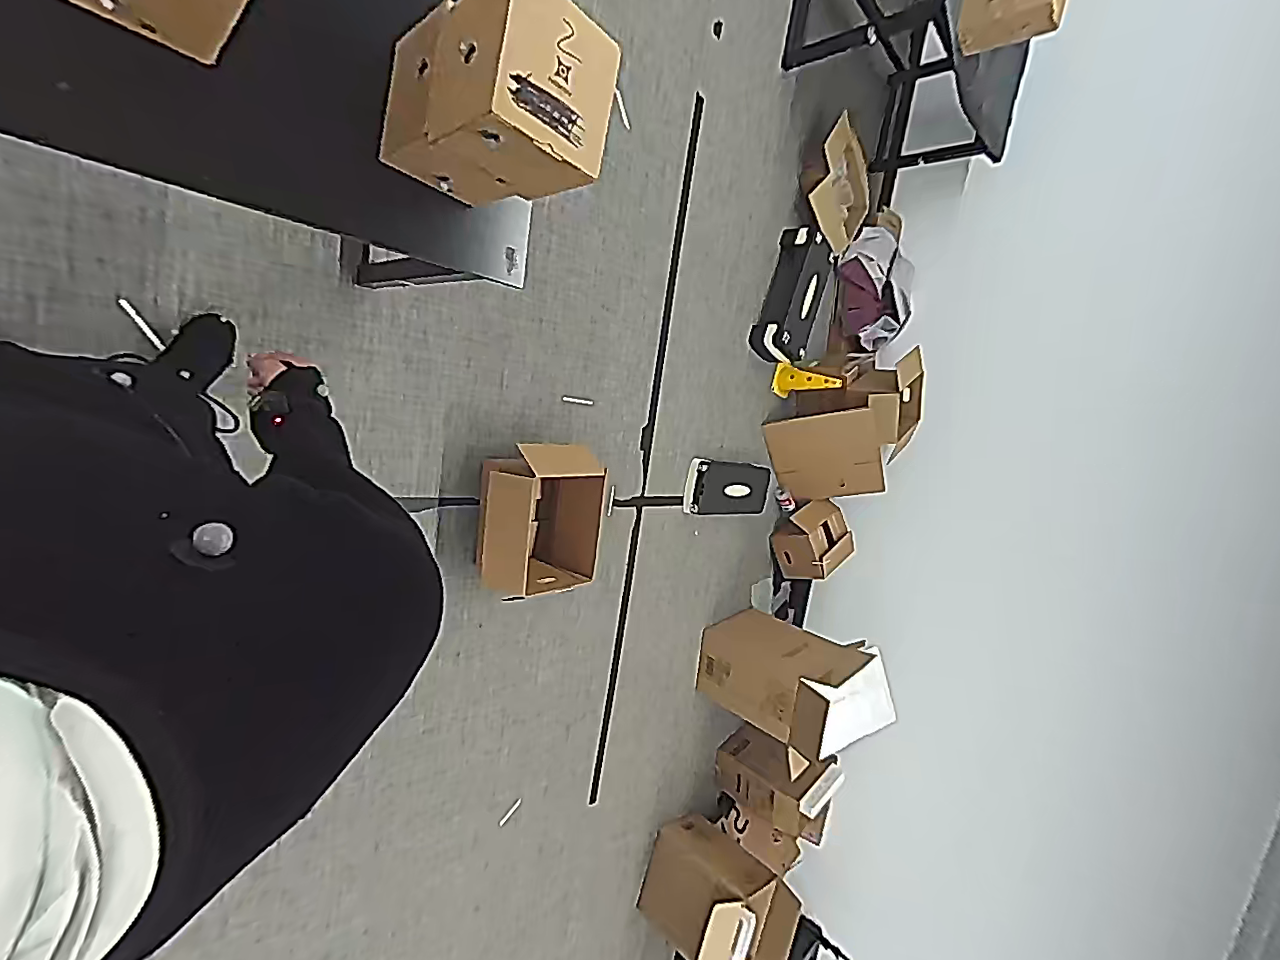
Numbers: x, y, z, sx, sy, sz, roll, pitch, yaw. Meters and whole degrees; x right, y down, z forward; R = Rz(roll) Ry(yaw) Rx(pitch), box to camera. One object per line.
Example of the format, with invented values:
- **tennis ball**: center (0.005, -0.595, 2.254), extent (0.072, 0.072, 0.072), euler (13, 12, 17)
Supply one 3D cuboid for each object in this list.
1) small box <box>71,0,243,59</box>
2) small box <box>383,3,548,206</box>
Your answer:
- **small box**: center (-0.513, -0.582, 0.544), extent (0.168, 0.176, 0.179), euler (1, 102, -47)
- **small box**: center (-0.267, -0.545, 0.817), extent (0.168, 0.176, 0.179), euler (7, 96, -47)
